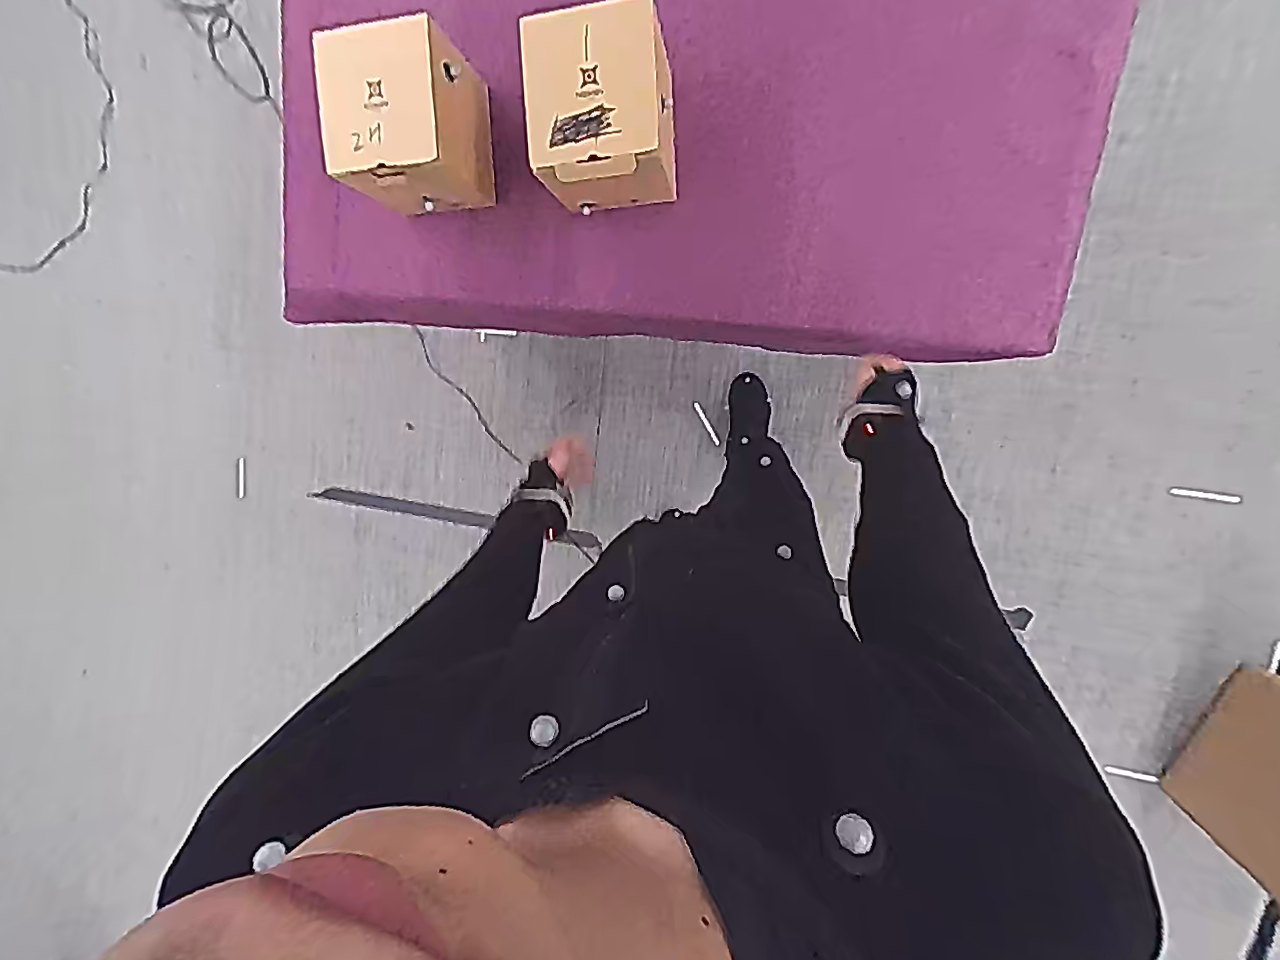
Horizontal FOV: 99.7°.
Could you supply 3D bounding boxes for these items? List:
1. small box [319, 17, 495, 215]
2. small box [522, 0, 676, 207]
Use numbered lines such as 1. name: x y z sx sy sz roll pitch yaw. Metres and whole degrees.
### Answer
1. small box: -0.322 -0.507 0.779 0.168 0.176 0.179 0 99 11
2. small box: -0.044 -0.487 0.731 0.168 0.176 0.179 -2 98 11
